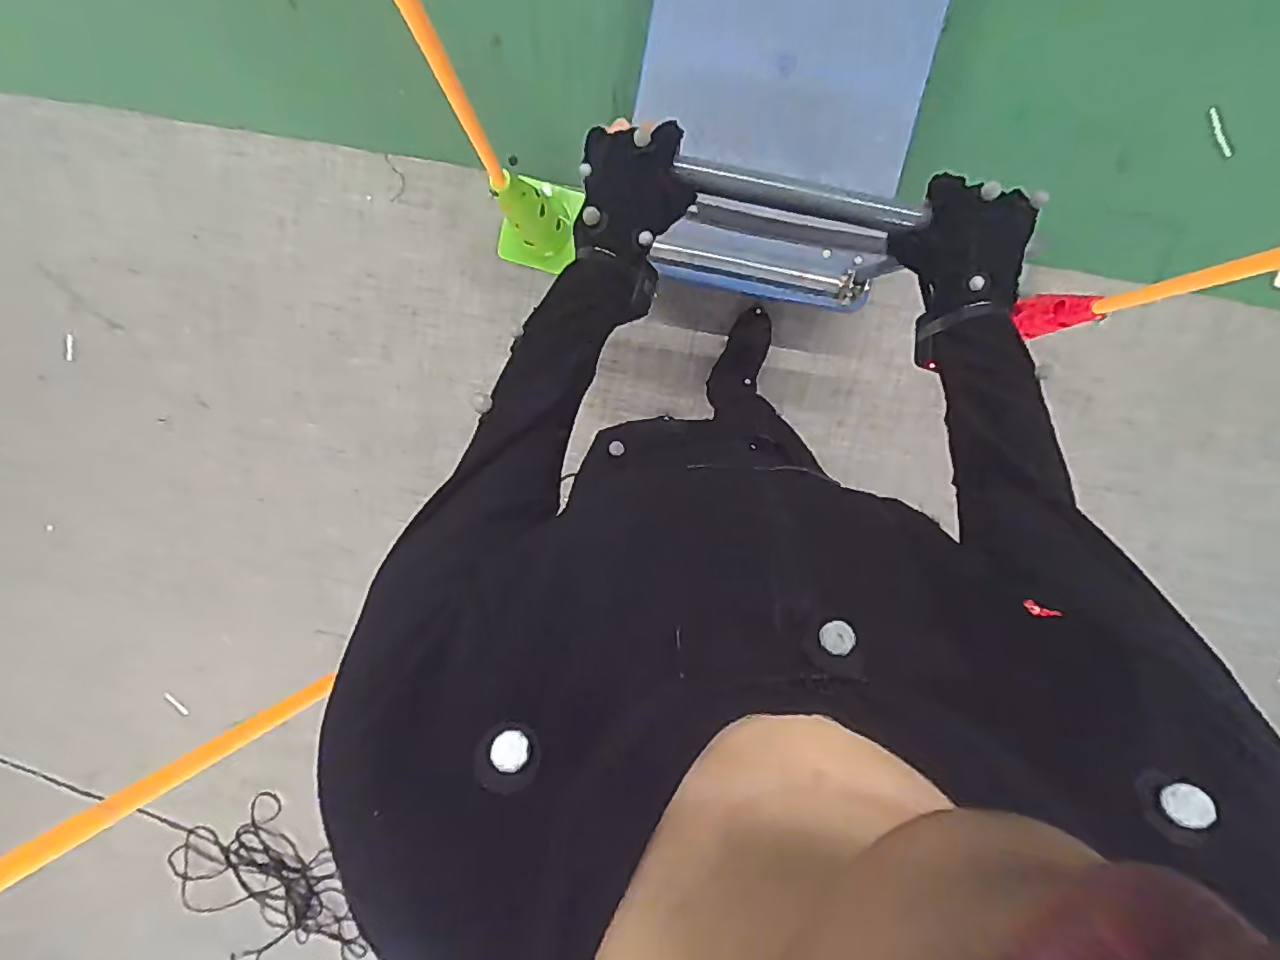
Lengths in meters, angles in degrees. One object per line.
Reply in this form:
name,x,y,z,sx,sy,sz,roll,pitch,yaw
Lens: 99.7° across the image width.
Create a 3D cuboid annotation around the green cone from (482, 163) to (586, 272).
green cone,-0.259,-0.609,1.184,0.202,0.368,0.200,15,102,1
